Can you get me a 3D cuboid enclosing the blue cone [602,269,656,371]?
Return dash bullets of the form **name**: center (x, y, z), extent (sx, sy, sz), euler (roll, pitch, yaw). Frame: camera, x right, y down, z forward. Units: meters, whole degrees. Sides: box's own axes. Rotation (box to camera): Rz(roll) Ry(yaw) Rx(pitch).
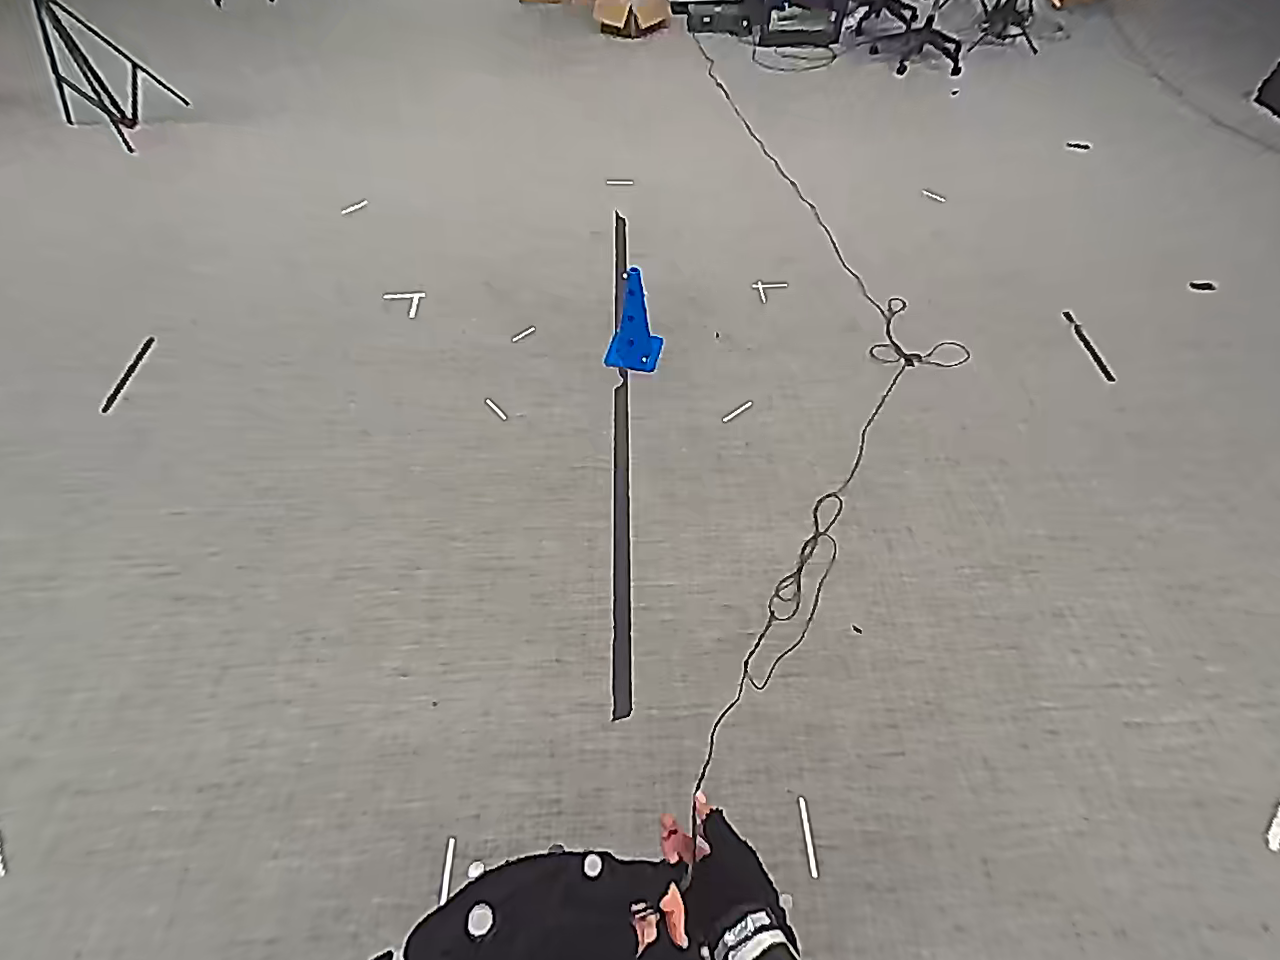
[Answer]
- **blue cone**: center (-0.040, -0.592, 1.968), extent (0.192, 0.380, 0.193), euler (12, 56, 8)
